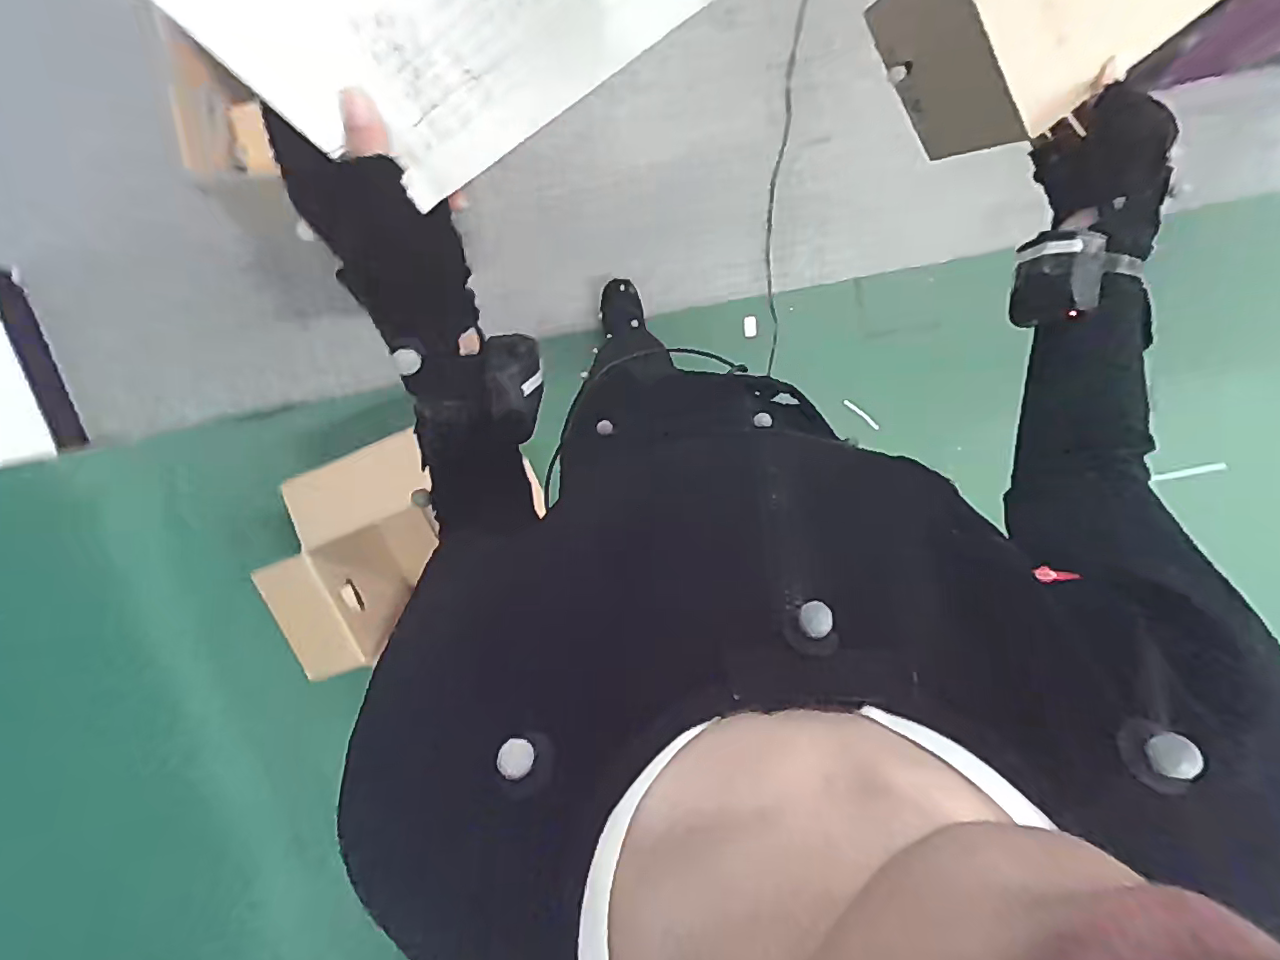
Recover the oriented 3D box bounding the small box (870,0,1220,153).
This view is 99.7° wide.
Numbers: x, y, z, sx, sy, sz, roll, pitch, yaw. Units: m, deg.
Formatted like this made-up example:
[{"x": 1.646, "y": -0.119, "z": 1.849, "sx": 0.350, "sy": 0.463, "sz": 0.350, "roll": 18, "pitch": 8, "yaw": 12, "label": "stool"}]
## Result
[{"x": 0.340, "y": -0.422, "z": 0.470, "sx": 0.179, "sy": 0.176, "sz": 0.168, "roll": -36, "pitch": 111, "yaw": 15, "label": "small box"}]
